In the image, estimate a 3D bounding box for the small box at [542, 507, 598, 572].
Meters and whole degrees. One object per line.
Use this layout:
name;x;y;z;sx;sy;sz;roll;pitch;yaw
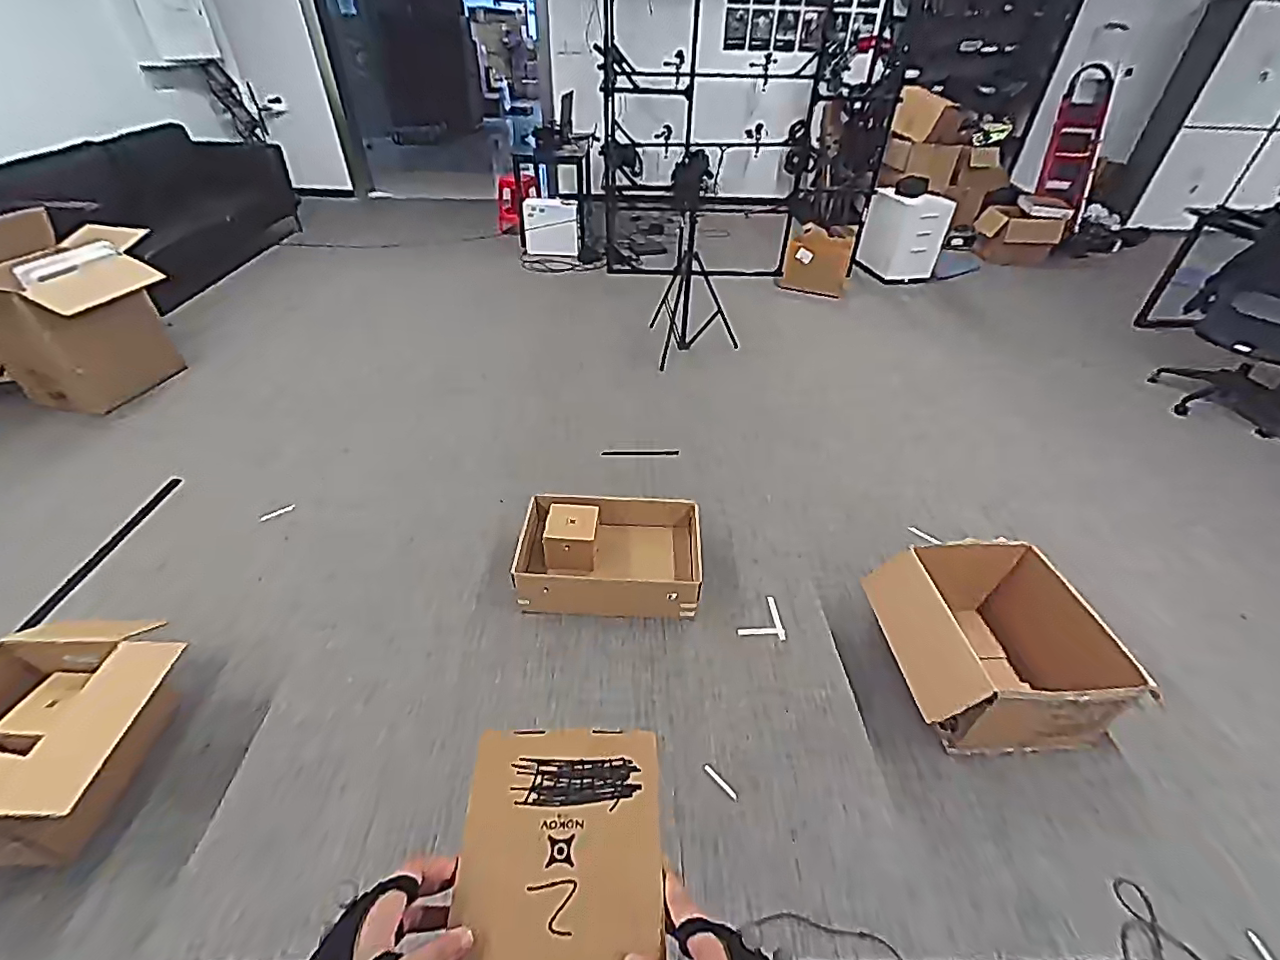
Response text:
small box;-0.245;0.215;1.941;0.179;0.176;0.168;4;42;0
